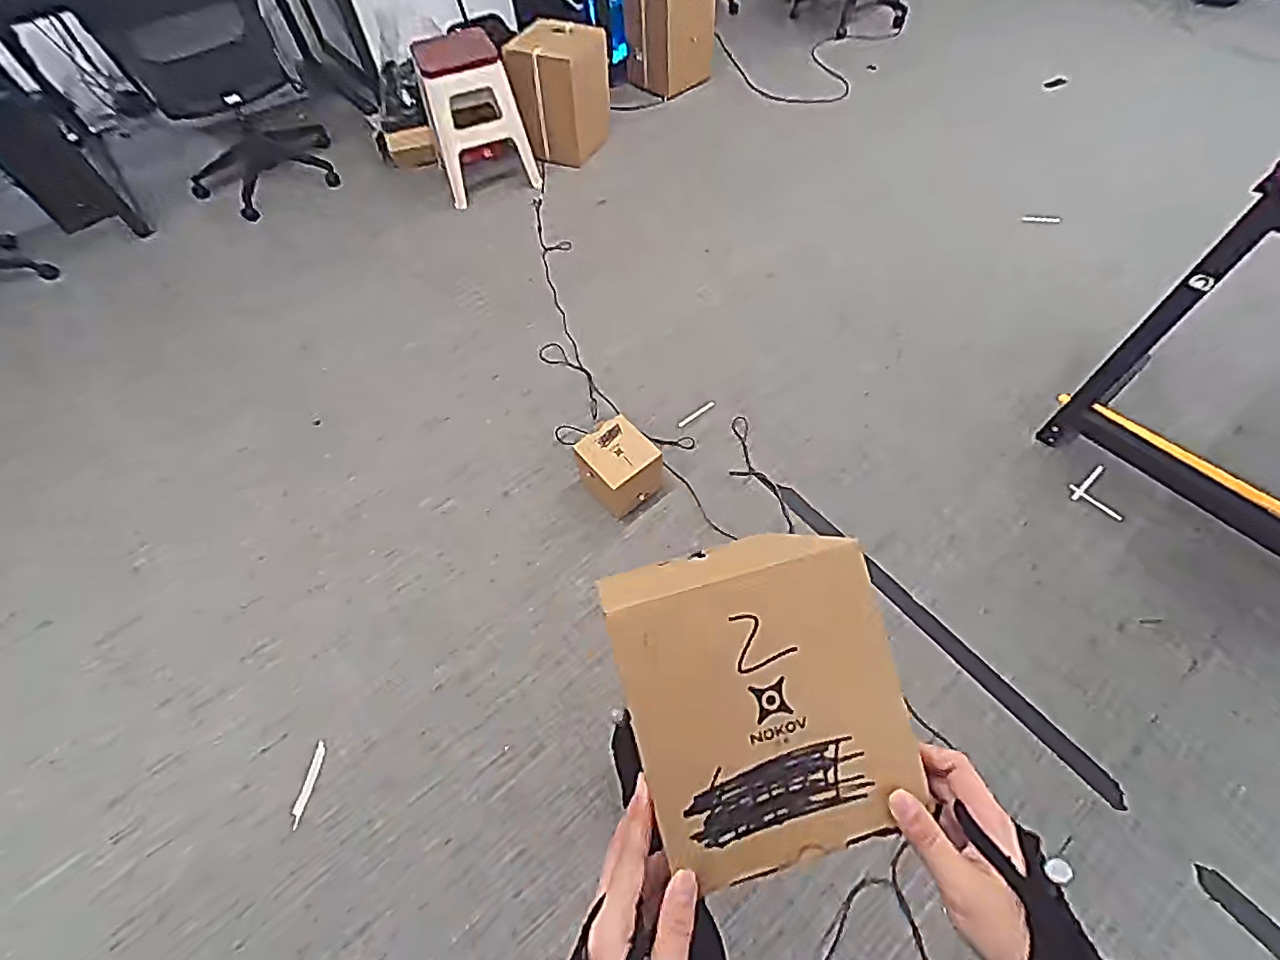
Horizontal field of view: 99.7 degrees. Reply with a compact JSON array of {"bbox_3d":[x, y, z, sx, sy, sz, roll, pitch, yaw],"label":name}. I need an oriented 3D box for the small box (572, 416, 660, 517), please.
[{"bbox_3d":[-0.062,-0.032,1.463,0.168,0.176,0.179,-37,65,-18],"label":"small box"}]
